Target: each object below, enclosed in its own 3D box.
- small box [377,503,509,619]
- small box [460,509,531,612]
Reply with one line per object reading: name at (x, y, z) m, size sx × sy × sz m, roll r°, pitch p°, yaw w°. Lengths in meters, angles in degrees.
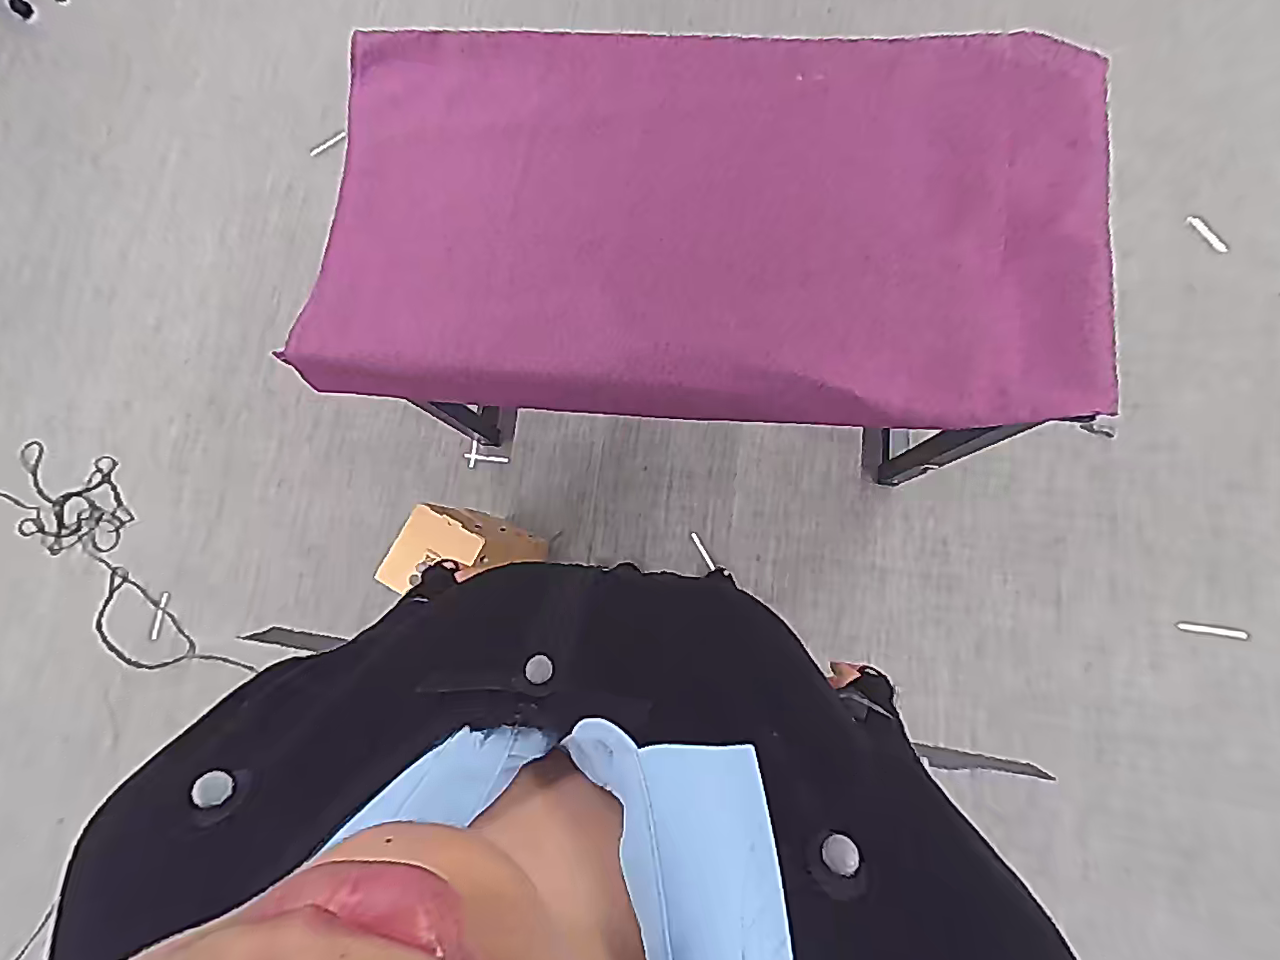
small box at (-0.402, 0.170, 1.141) m, size 0.168 × 0.176 × 0.179 m, roll 27°, pitch 84°, yaw 8°
small box at (-0.384, 0.191, 1.301) m, size 0.168 × 0.176 × 0.179 m, roll 34°, pitch 86°, yaw 9°
